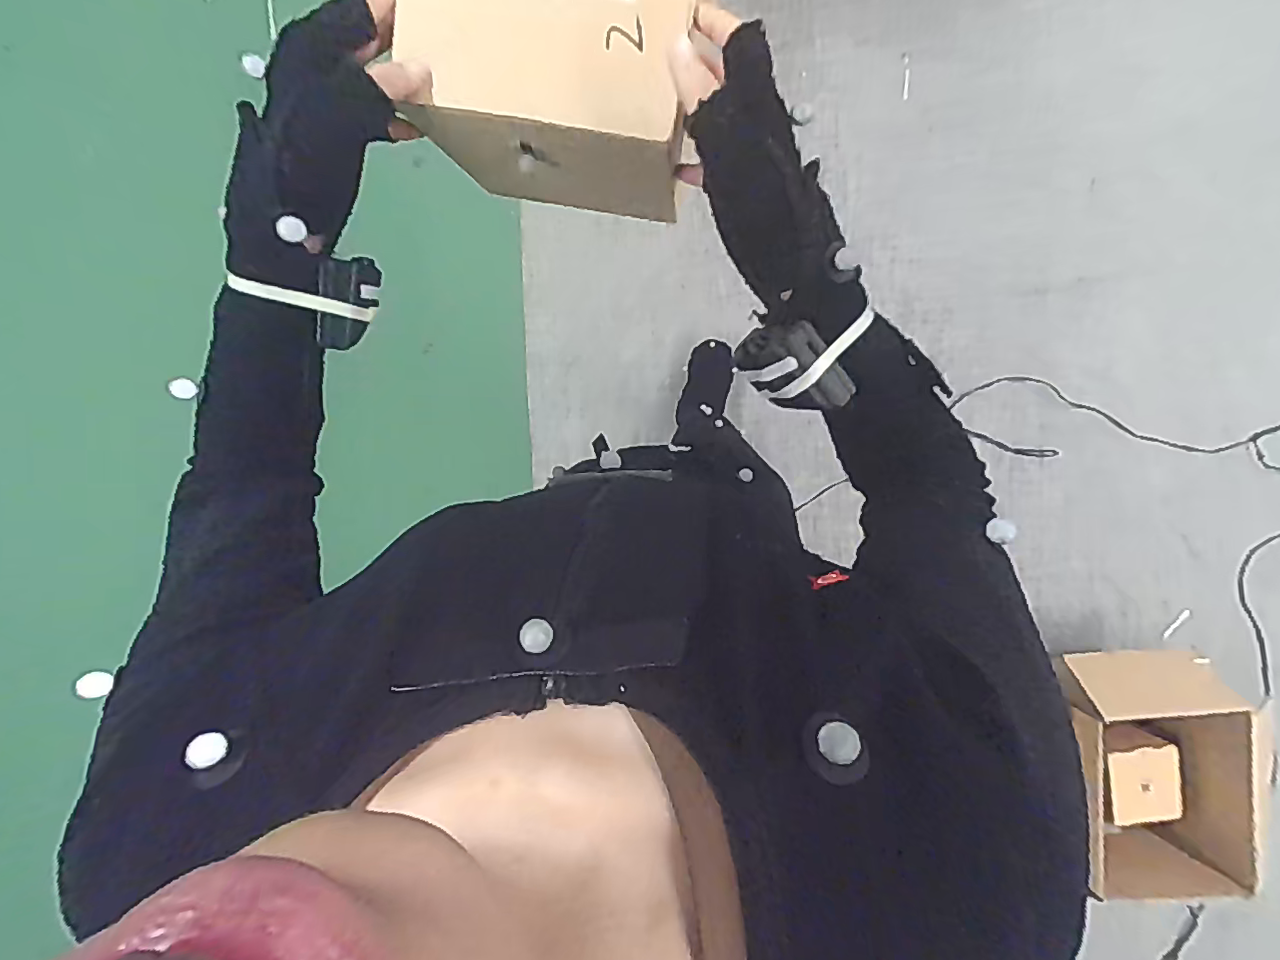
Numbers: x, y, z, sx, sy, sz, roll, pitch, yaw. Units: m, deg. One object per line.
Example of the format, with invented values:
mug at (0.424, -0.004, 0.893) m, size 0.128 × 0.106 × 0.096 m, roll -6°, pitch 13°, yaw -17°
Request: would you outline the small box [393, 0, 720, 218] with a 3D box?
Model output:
small box at (-0.043, -0.308, 0.388) m, size 0.179 × 0.176 × 0.168 m, roll 12°, pitch 102°, yaw 3°
